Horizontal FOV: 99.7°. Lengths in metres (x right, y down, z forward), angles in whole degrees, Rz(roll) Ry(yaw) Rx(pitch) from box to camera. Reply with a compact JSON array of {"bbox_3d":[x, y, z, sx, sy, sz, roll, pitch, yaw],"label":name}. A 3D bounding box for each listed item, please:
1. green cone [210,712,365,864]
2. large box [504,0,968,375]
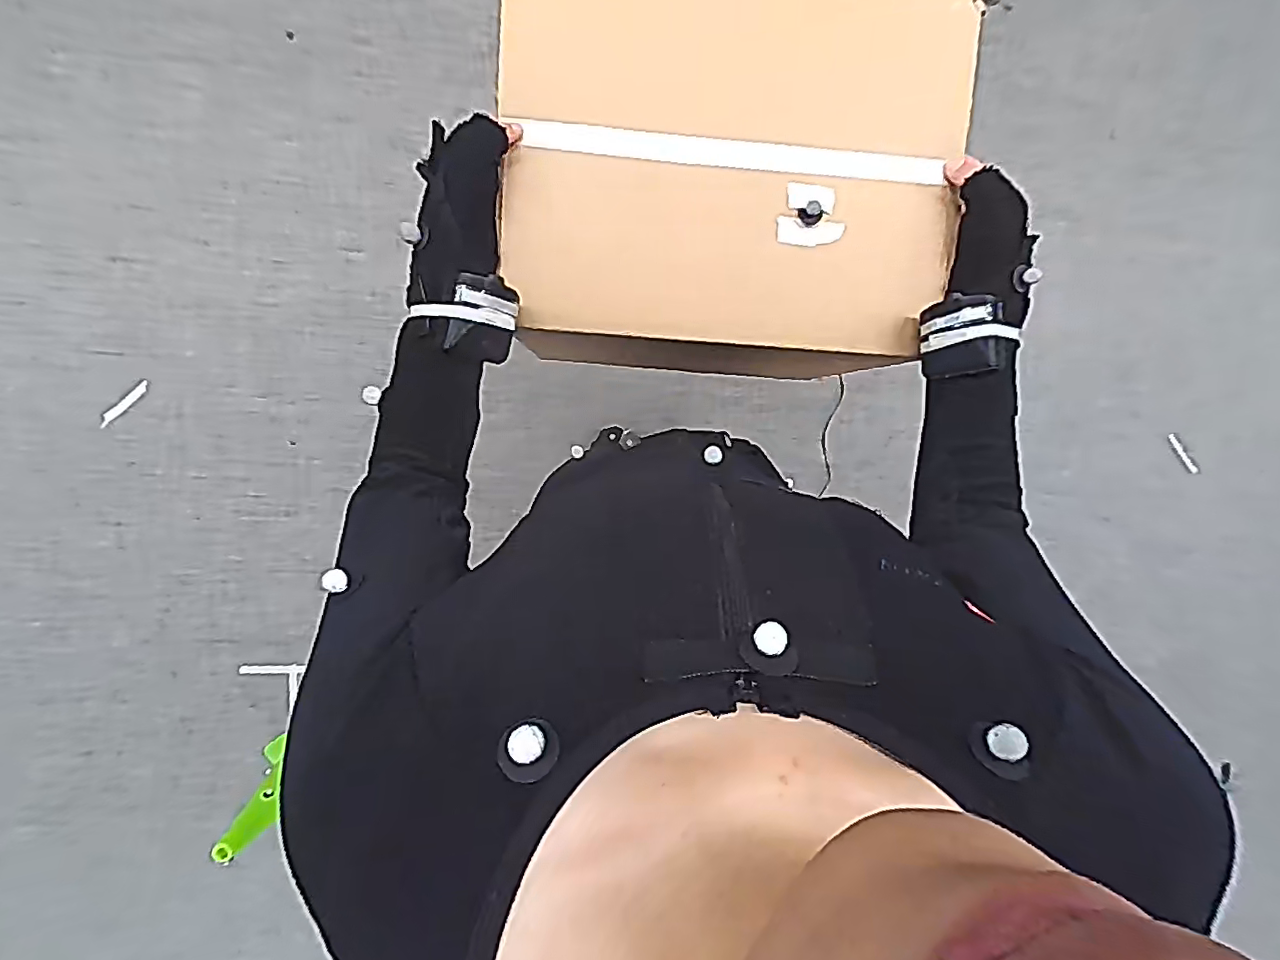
[{"bbox_3d":[-0.871,0.760,1.293,0.202,0.368,0.200,-34,93,1],"label":"green cone"},{"bbox_3d":[0.071,-0.297,0.619,0.408,0.320,0.320,3,97,-5],"label":"large box"}]
